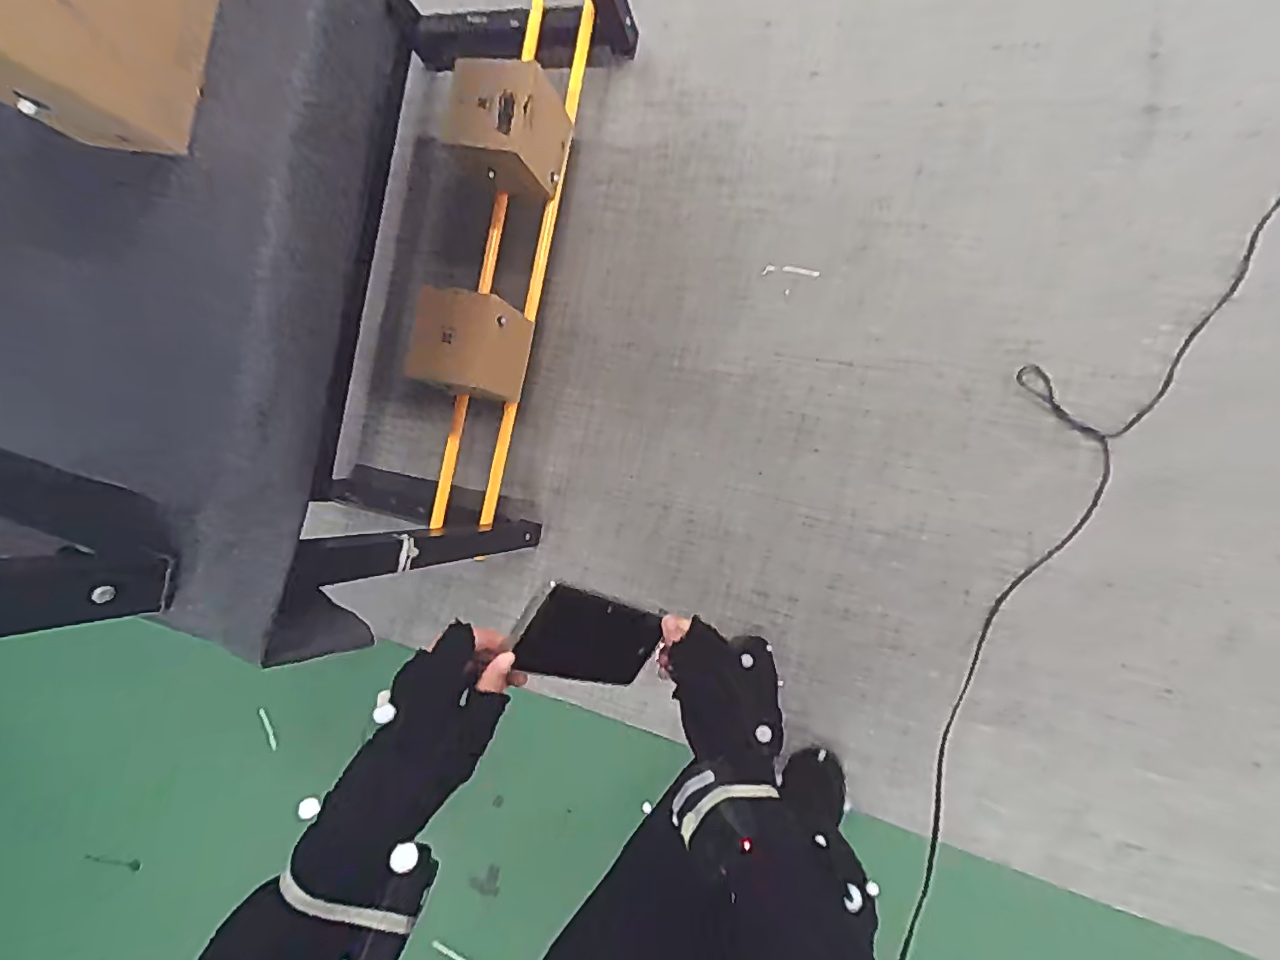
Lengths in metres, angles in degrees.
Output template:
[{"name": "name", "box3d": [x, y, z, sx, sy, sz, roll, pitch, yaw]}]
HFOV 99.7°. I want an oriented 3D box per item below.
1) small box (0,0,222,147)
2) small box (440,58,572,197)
[{"name": "small box", "box3d": [-0.533, -0.441, 0.495, 0.168, 0.176, 0.179, 15, 92, 16]}, {"name": "small box", "box3d": [-0.257, -0.689, 1.073, 0.179, 0.176, 0.168, 16, 92, 16]}]
